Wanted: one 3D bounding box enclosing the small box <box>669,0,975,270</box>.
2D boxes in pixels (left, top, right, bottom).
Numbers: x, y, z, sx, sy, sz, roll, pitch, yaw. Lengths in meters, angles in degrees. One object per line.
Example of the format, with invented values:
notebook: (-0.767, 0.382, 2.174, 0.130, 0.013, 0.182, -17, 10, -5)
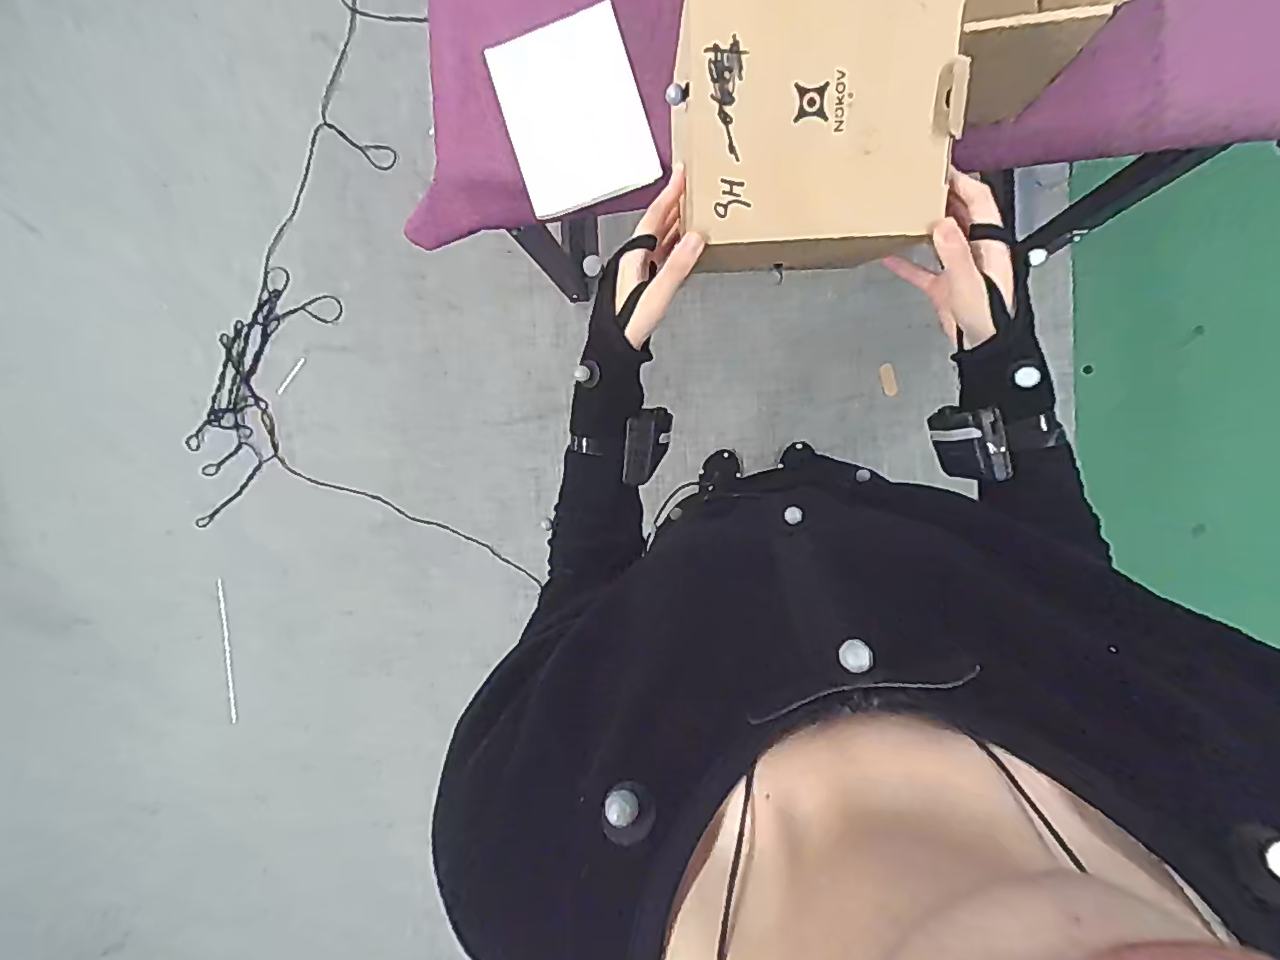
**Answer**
small box: (0.119, -0.264, 0.424, 0.179, 0.176, 0.168, -1, 104, -2)
